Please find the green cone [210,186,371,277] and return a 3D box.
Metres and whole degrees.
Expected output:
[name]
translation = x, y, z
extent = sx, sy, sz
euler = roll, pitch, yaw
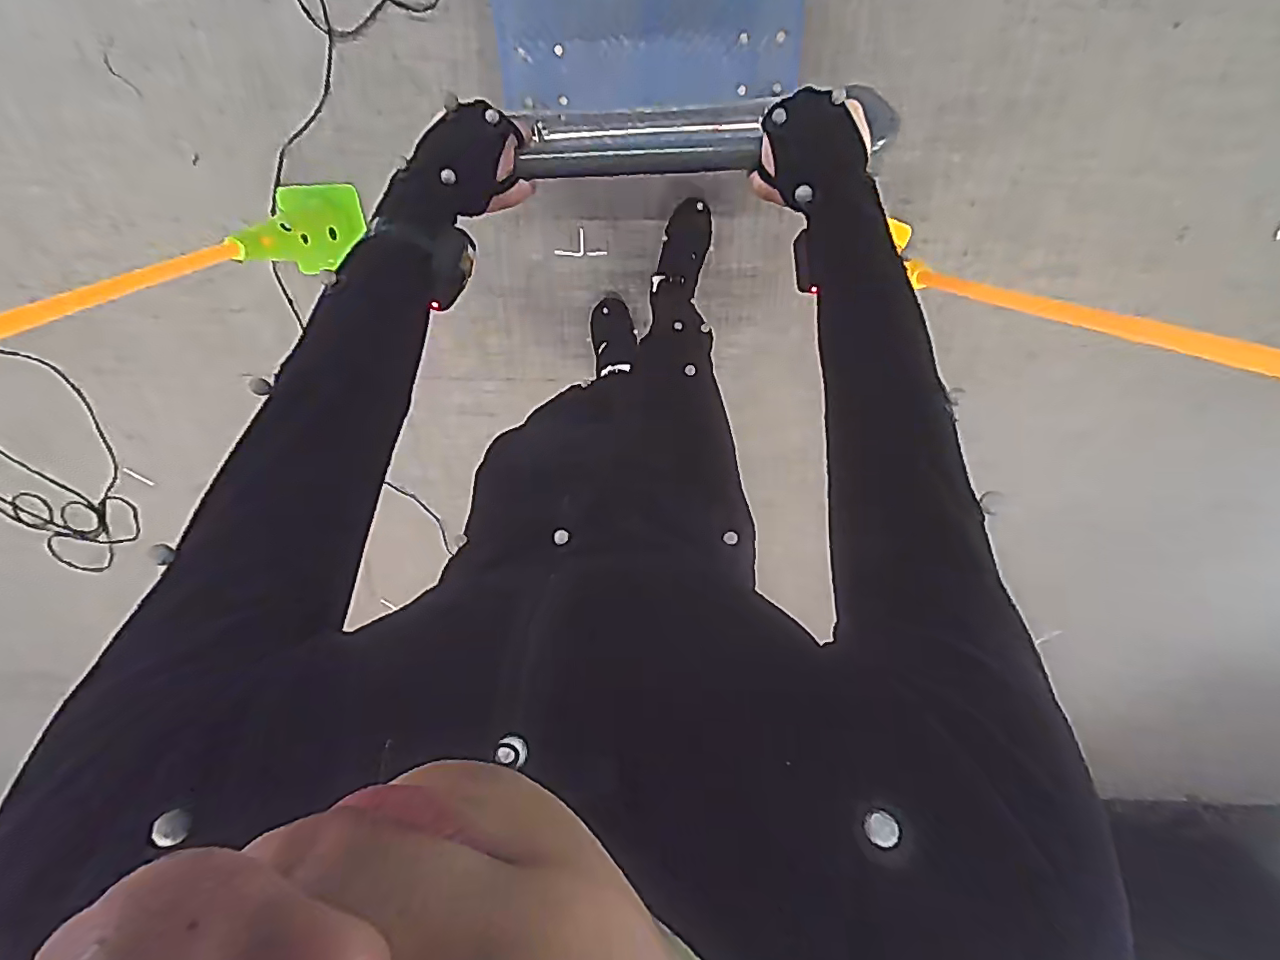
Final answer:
[green cone]
translation = -0.786, -0.525, 1.181
extent = 0.202, 0.368, 0.200
euler = -2, 119, 3
